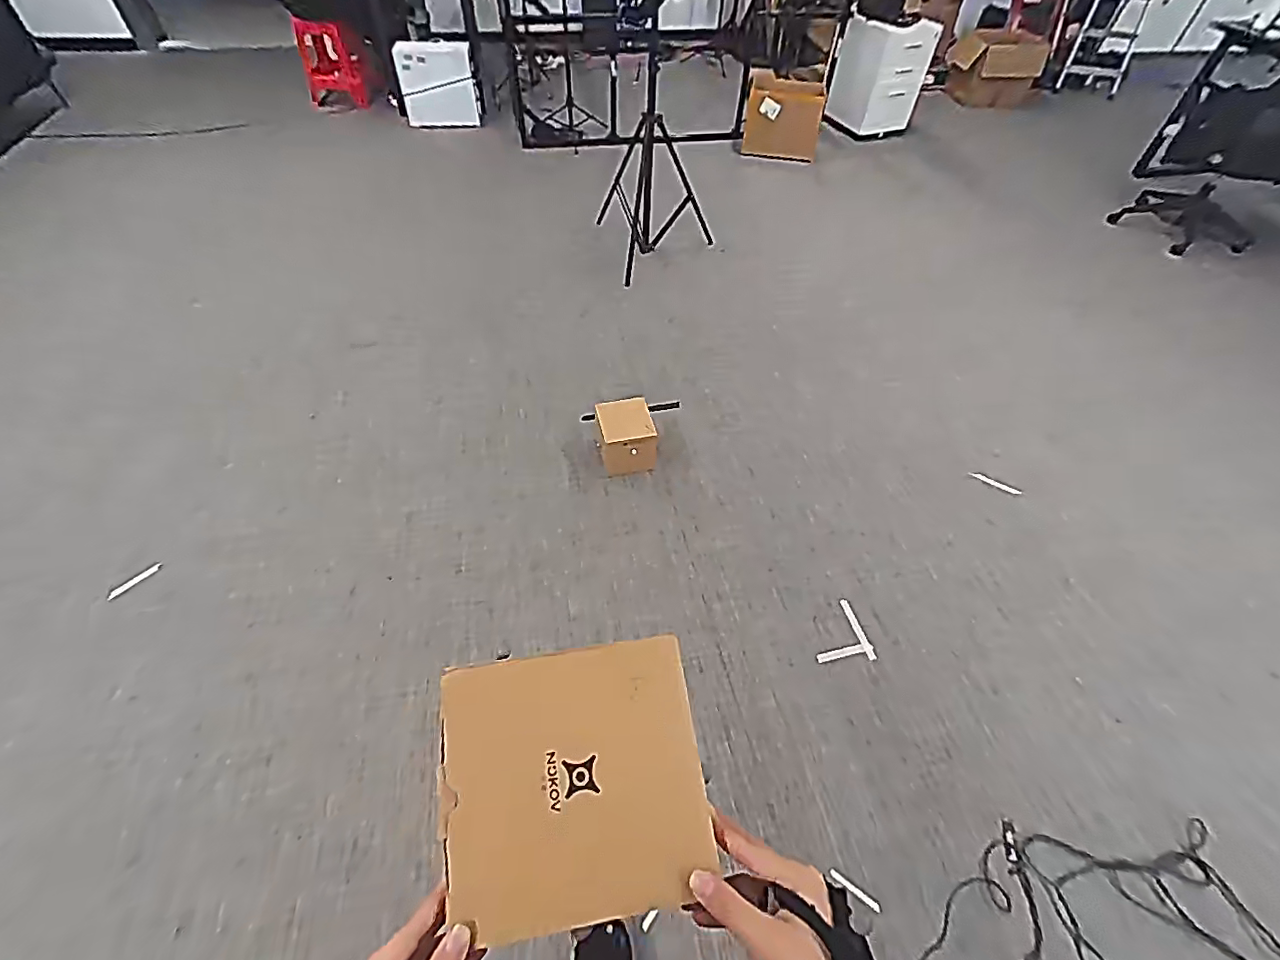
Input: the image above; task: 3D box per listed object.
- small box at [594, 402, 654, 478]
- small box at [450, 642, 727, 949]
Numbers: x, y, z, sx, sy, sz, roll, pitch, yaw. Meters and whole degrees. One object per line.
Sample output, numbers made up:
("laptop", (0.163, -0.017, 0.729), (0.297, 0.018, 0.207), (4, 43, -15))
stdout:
("small box", (-0.053, -0.134, 1.770), (0.168, 0.176, 0.179), (-10, 52, -10))
("small box", (-0.043, 0.233, 0.442), (0.179, 0.176, 0.168), (-8, 68, -5))
